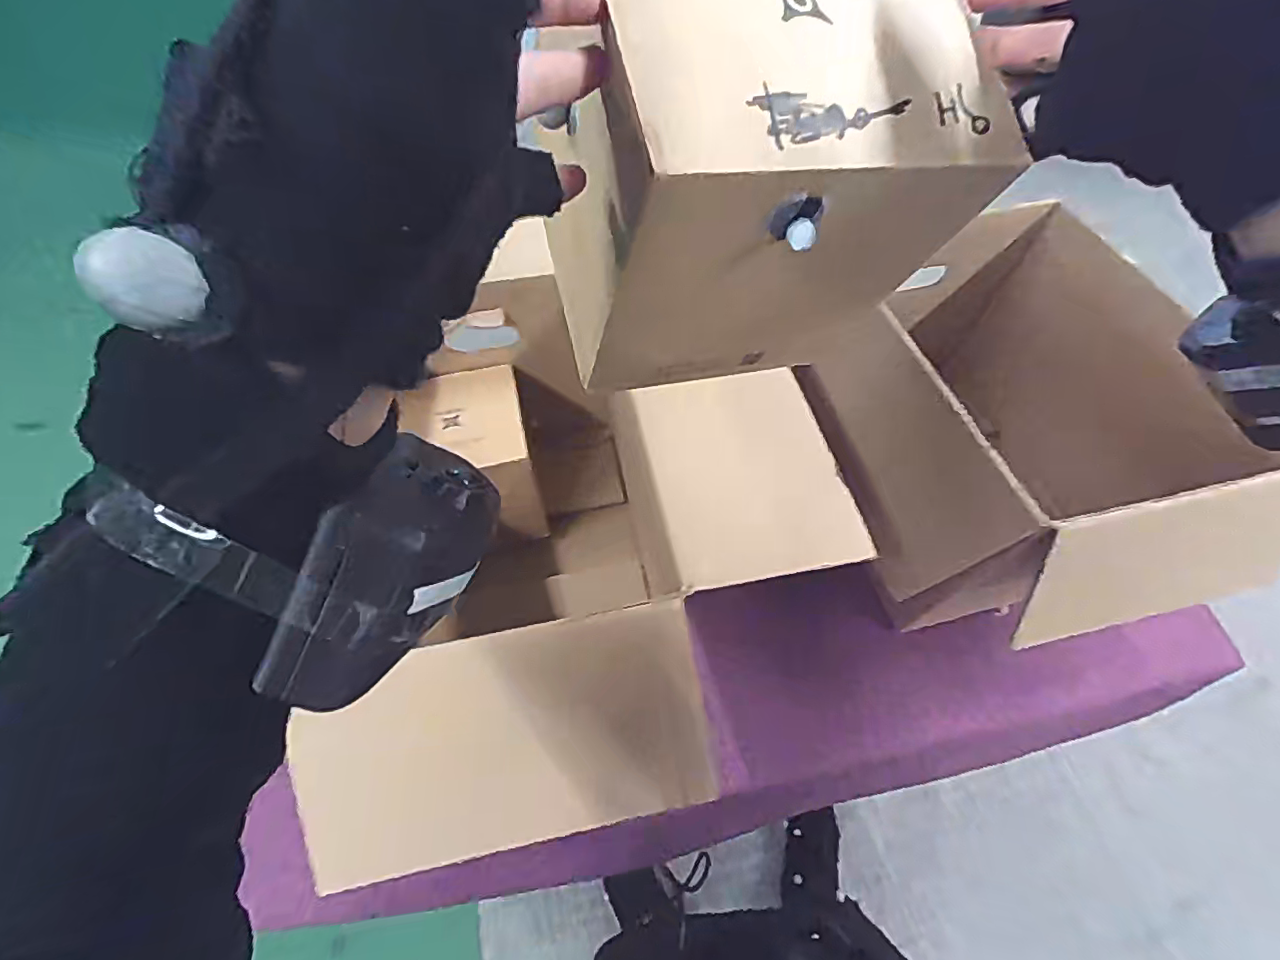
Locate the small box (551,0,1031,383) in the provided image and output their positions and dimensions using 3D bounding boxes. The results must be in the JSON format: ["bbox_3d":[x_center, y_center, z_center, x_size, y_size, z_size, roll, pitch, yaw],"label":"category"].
[{"bbox_3d":[0.049,-0.175,0.297,0.168,0.176,0.179,-10,76,-15],"label":"small box"}]
